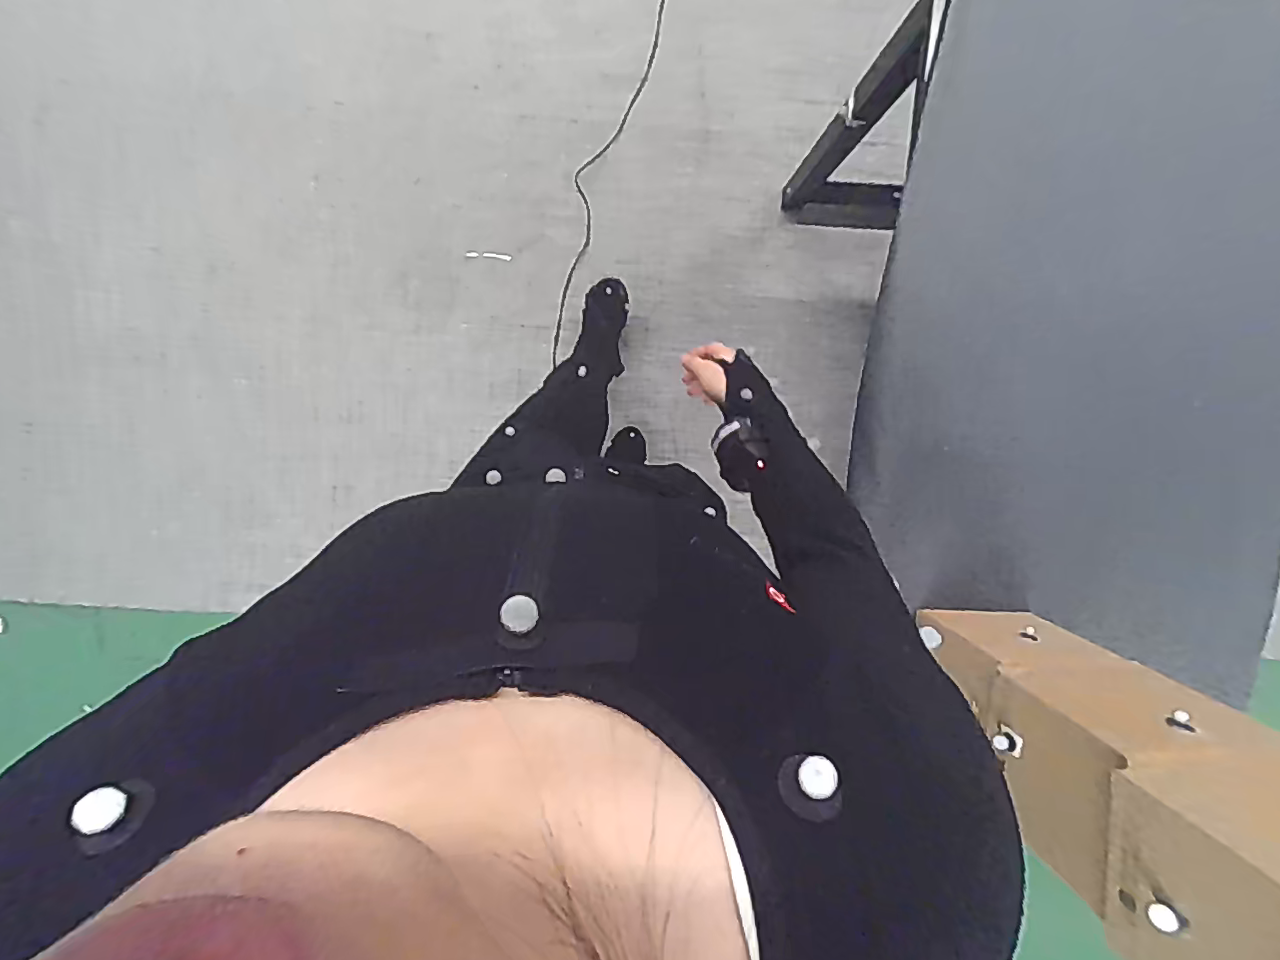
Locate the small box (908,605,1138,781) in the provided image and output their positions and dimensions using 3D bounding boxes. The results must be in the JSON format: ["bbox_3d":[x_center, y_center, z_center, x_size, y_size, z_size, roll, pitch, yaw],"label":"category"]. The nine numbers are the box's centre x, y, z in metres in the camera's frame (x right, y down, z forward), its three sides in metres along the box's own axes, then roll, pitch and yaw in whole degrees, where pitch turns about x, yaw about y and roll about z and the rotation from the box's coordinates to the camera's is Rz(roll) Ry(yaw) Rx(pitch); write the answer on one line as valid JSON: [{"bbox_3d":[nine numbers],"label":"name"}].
[{"bbox_3d":[0.485,0.272,0.713,0.179,0.176,0.168,3,97,-5],"label":"small box"}]

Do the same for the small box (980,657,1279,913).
[{"bbox_3d":[0.492,0.293,0.552,0.179,0.176,0.168,-1,97,-3],"label":"small box"}]

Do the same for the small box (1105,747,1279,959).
[{"bbox_3d":[0.494,0.317,0.388,0.179,0.176,0.168,-4,96,-4],"label":"small box"}]
